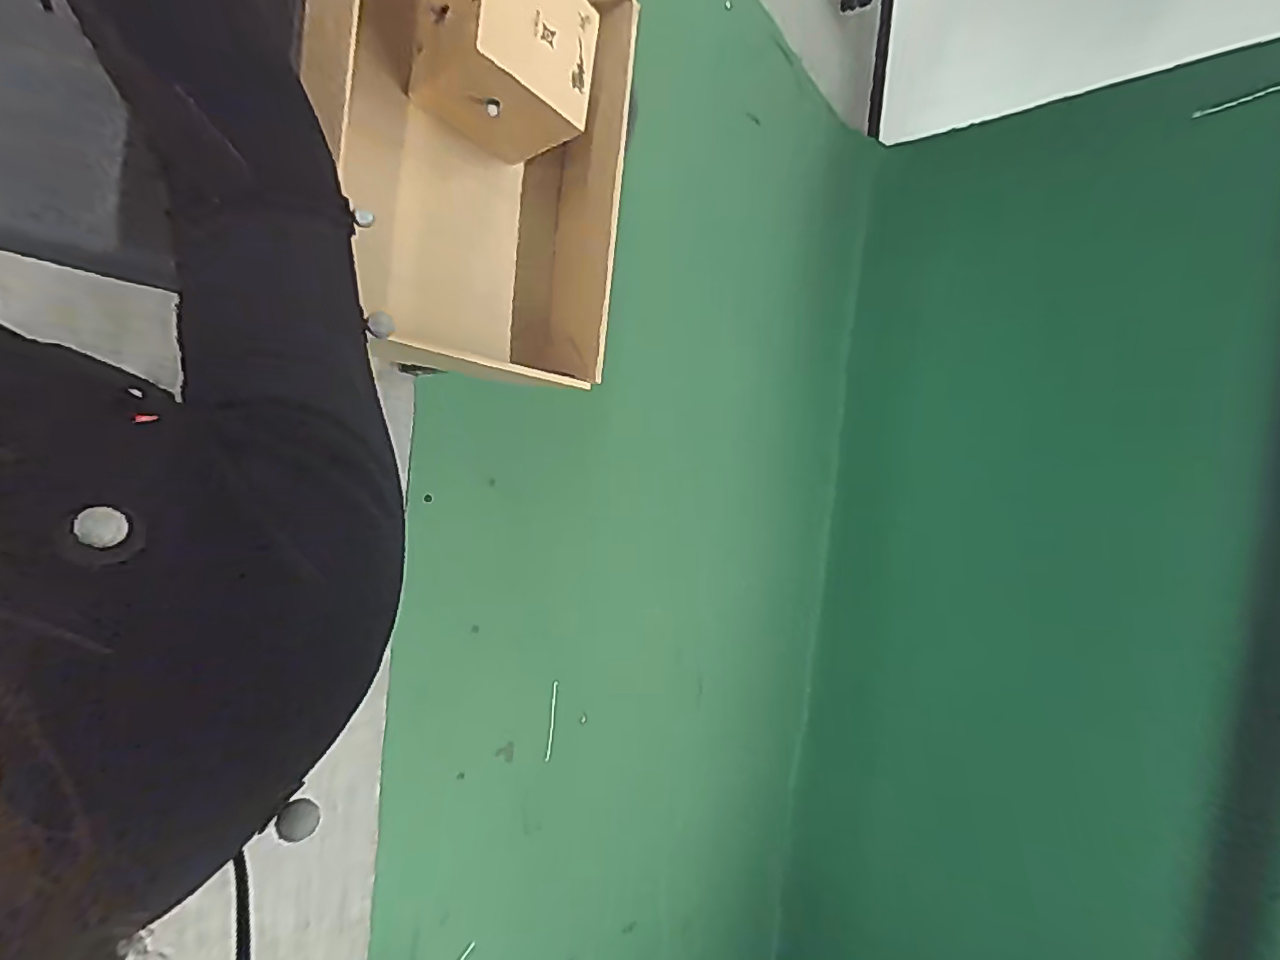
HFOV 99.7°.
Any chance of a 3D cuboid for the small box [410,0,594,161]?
[{"bbox_3d":[-0.190,-0.572,0.736,0.179,0.176,0.168,7,92,-48],"label":"small box"}]
